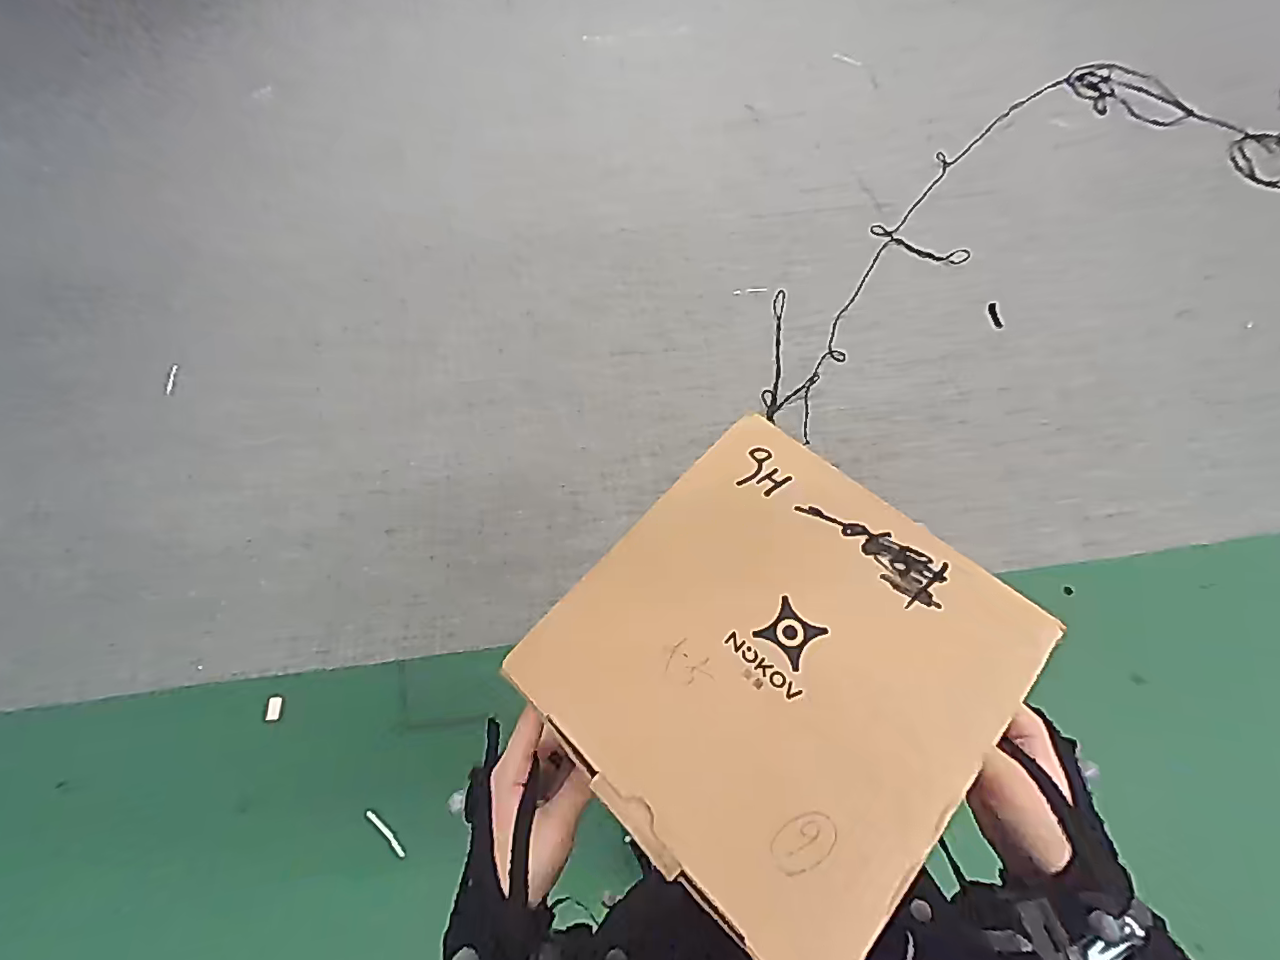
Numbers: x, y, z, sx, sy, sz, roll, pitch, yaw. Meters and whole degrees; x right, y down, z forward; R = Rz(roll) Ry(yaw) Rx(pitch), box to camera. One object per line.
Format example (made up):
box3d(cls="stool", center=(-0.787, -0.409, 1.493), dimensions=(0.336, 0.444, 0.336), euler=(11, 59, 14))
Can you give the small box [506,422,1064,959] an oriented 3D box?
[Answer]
box3d(cls="small box", center=(0.065, 0.110, 0.297), dimensions=(0.168, 0.176, 0.179), euler=(40, 74, 22))
